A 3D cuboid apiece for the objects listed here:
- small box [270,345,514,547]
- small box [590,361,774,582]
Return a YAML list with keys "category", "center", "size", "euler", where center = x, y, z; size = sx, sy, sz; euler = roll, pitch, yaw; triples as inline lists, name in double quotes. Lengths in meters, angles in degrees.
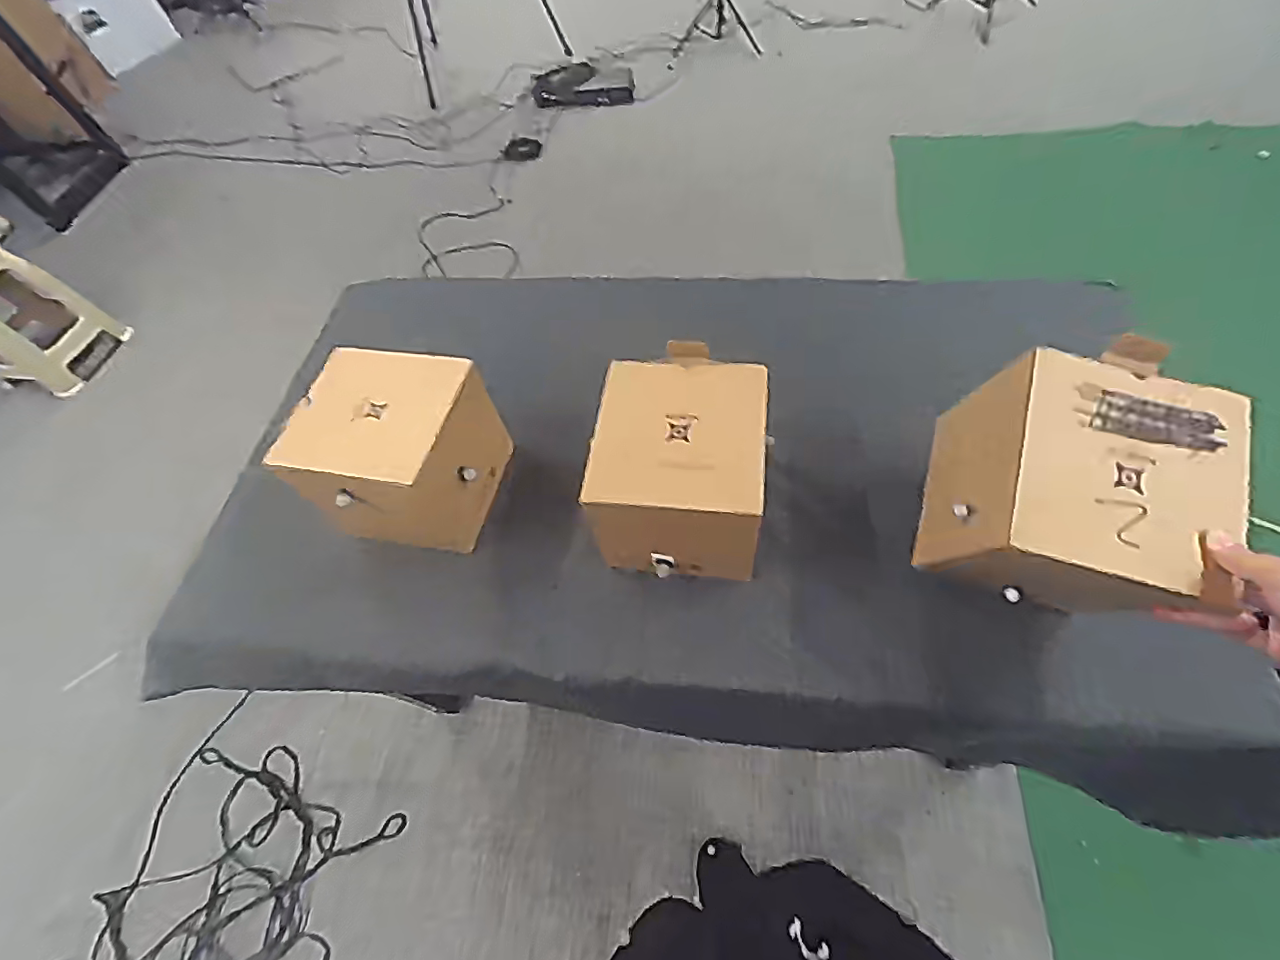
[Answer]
- category: "small box"
  center: [-0.270, -0.034, 0.641]
  size: [0.179, 0.176, 0.168]
  euler: [8, 60, 11]
- category: "small box"
  center: [0.052, -0.007, 0.591]
  size: [0.168, 0.176, 0.179]
  euler: [3, 59, 9]
